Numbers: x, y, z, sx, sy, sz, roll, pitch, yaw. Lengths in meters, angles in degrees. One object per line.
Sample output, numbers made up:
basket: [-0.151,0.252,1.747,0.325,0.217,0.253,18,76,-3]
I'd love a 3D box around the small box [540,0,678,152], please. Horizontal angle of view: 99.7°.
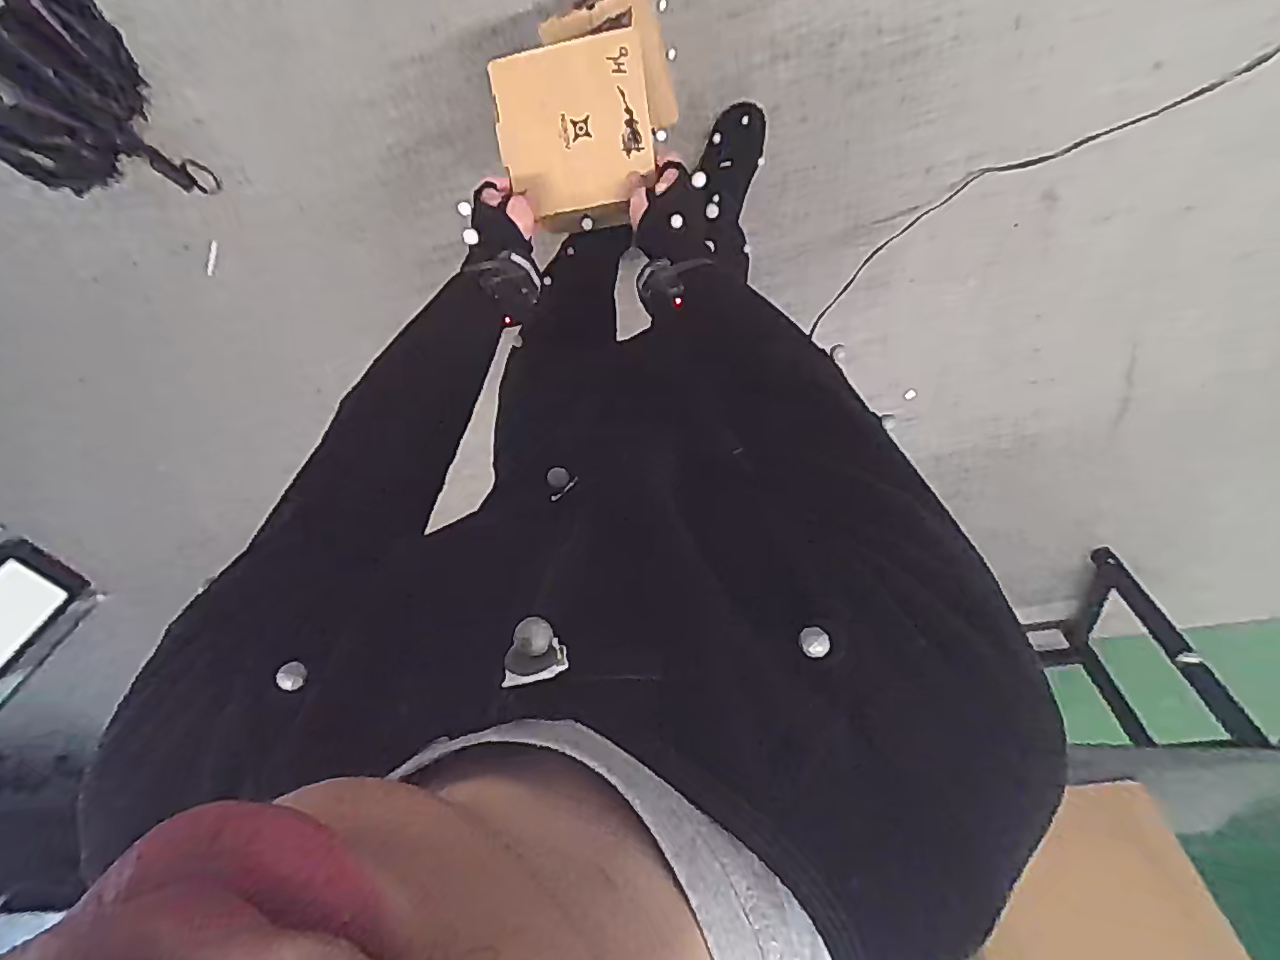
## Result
small box: [-0.041,-0.664,0.866,0.168,0.176,0.179,-12,131,14]
